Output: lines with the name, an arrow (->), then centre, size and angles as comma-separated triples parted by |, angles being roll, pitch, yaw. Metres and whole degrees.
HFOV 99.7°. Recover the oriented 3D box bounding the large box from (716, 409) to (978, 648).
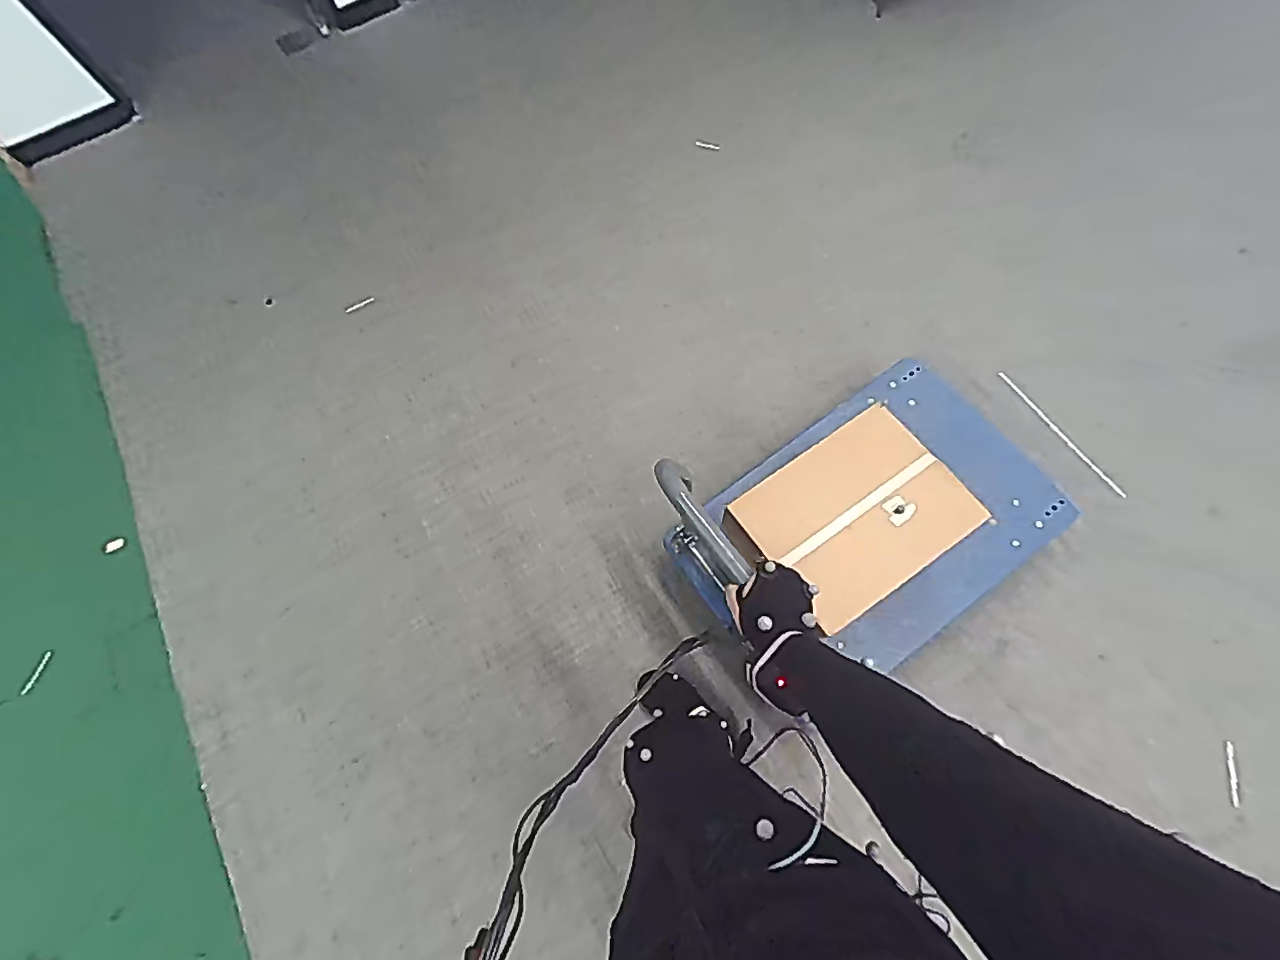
large box -> 0.424, 0.124, 1.209 | 0.408, 0.320, 0.320 | -33, 72, -9
